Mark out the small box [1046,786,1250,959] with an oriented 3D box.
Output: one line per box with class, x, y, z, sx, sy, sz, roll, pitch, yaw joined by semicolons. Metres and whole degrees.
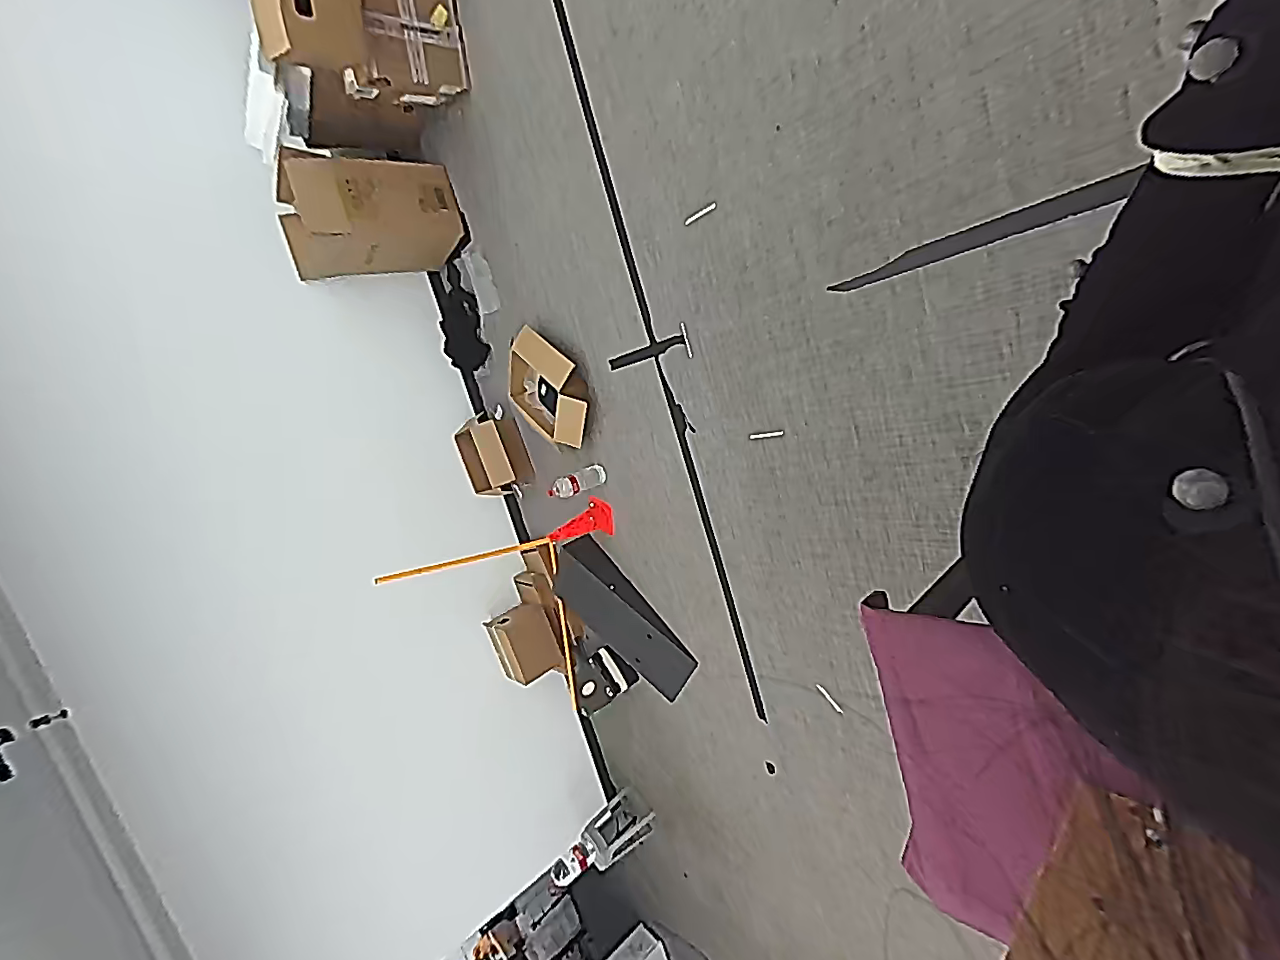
small box;0.642;0.543;0.686;0.168;0.176;0.179;5;113;51
